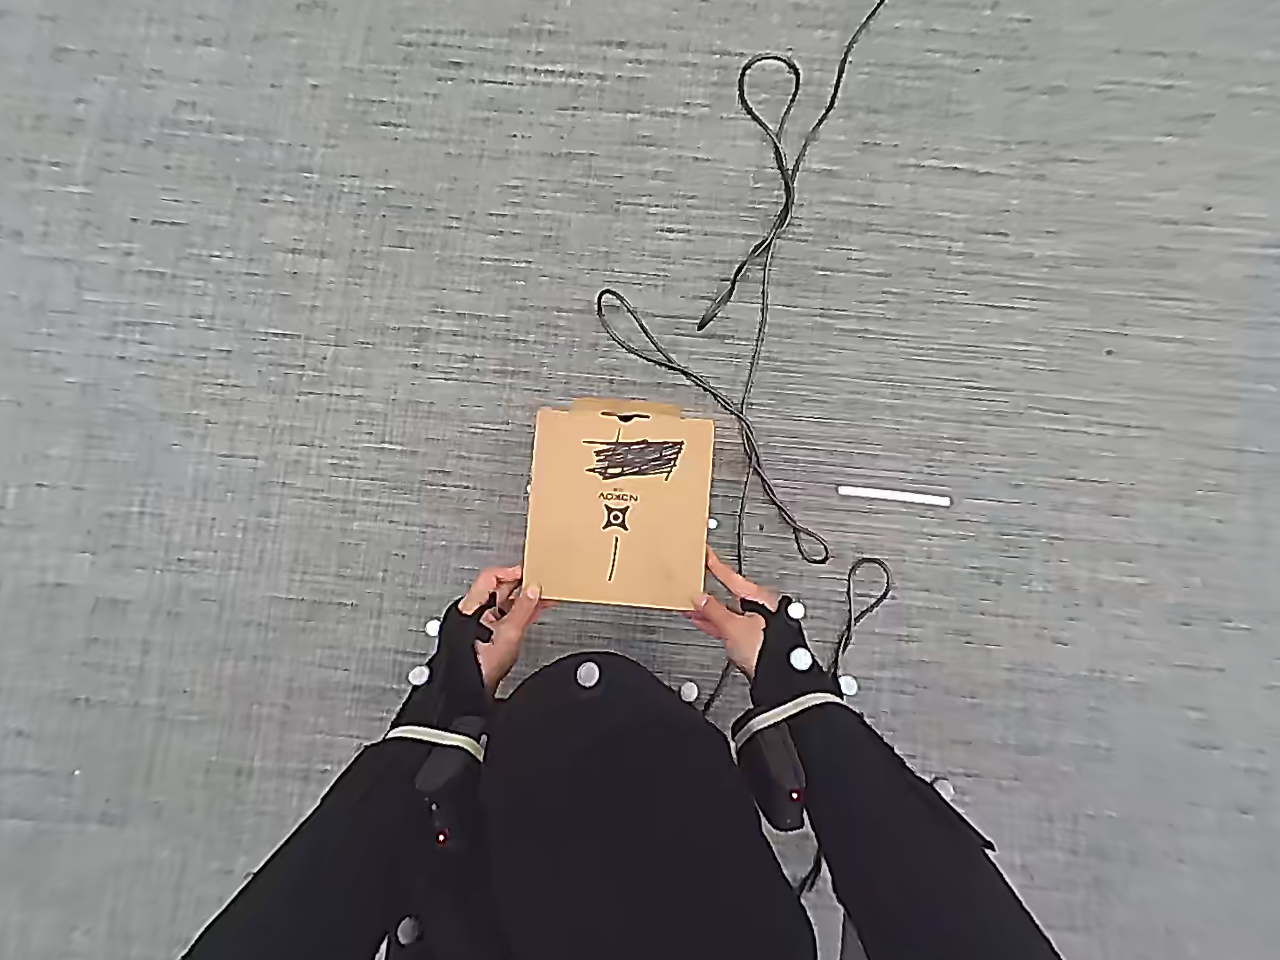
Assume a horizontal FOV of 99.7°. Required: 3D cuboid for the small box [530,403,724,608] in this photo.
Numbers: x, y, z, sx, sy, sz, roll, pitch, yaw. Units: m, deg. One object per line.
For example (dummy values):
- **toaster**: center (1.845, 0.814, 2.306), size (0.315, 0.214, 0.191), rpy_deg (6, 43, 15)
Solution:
- **small box**: center (-0.009, 0.027, 0.569), size (0.168, 0.176, 0.179), rpy_deg (5, 86, 3)
